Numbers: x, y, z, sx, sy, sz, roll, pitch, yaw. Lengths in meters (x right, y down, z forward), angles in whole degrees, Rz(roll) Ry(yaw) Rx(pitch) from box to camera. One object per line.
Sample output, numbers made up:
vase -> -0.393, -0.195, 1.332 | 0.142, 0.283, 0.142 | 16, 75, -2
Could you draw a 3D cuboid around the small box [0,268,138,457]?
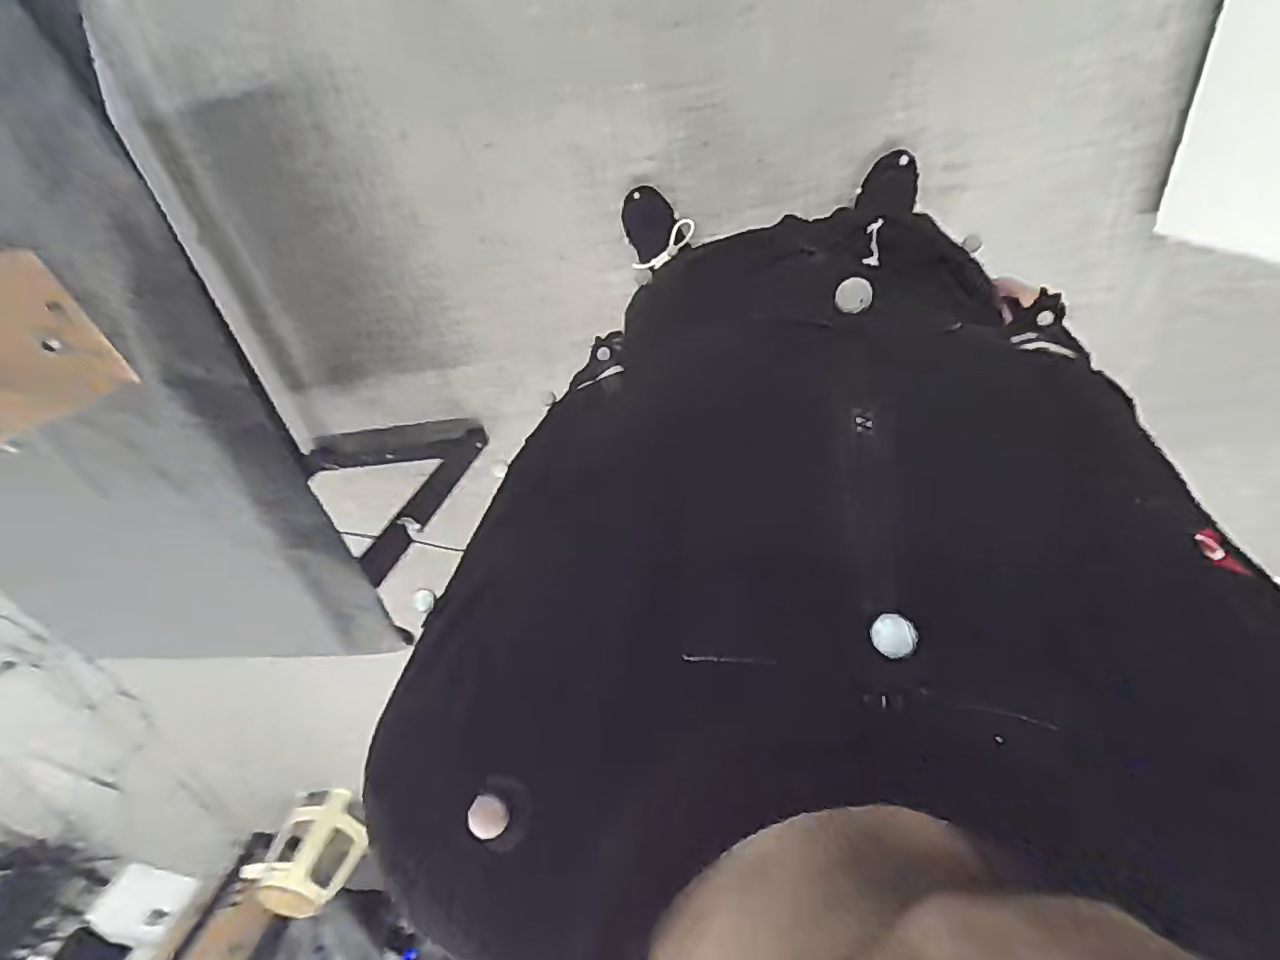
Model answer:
small box -> -0.740, -0.117, 0.605 | 0.179, 0.176, 0.168 | -13, 119, 17
